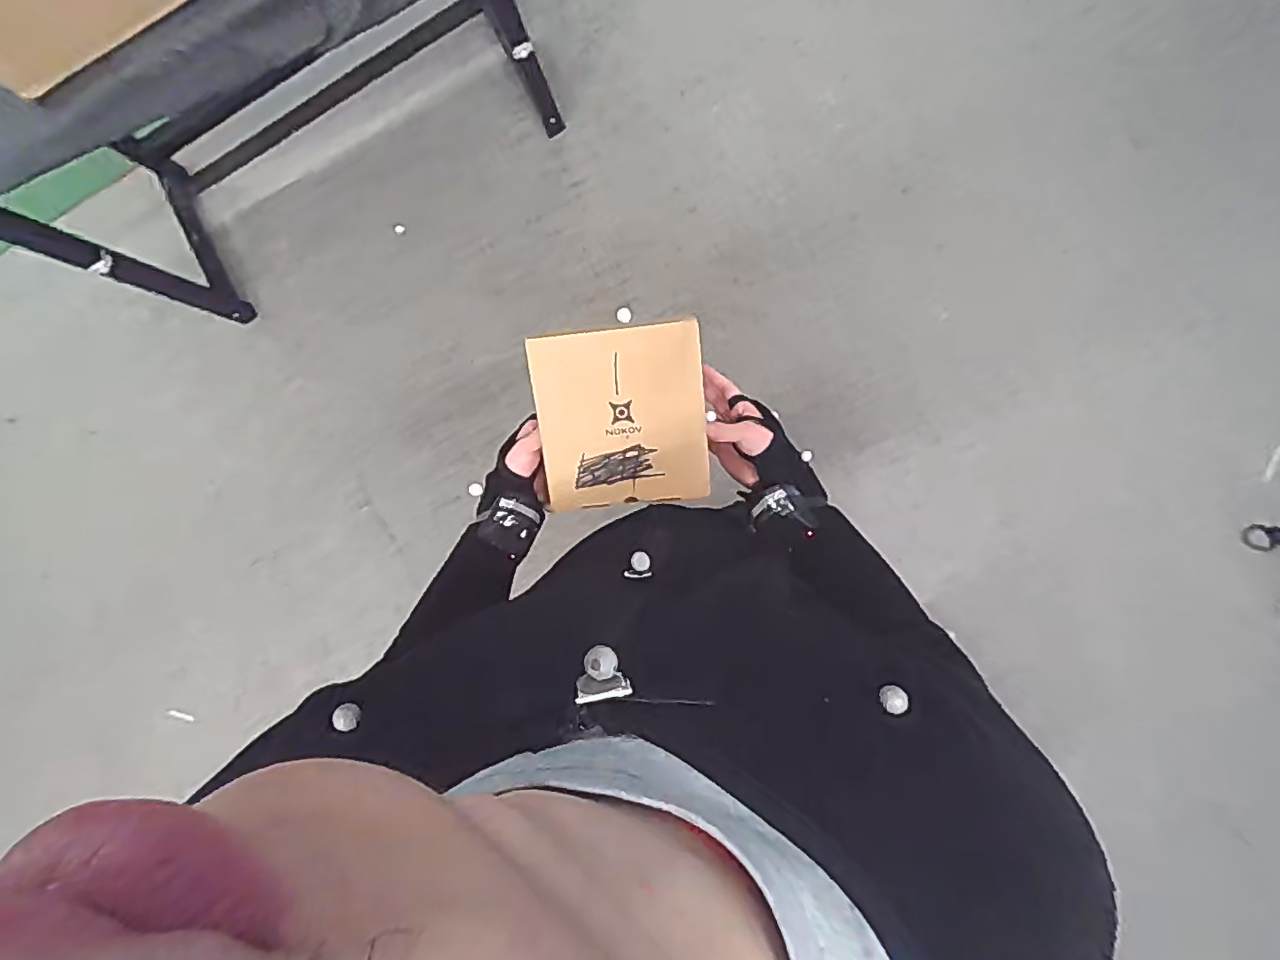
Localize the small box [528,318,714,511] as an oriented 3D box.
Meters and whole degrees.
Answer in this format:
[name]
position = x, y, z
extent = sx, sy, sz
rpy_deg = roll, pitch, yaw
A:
[small box]
position = -0.011, -0.081, 0.601
extent = 0.168, 0.176, 0.179
rpy_deg = -7, 106, 4
